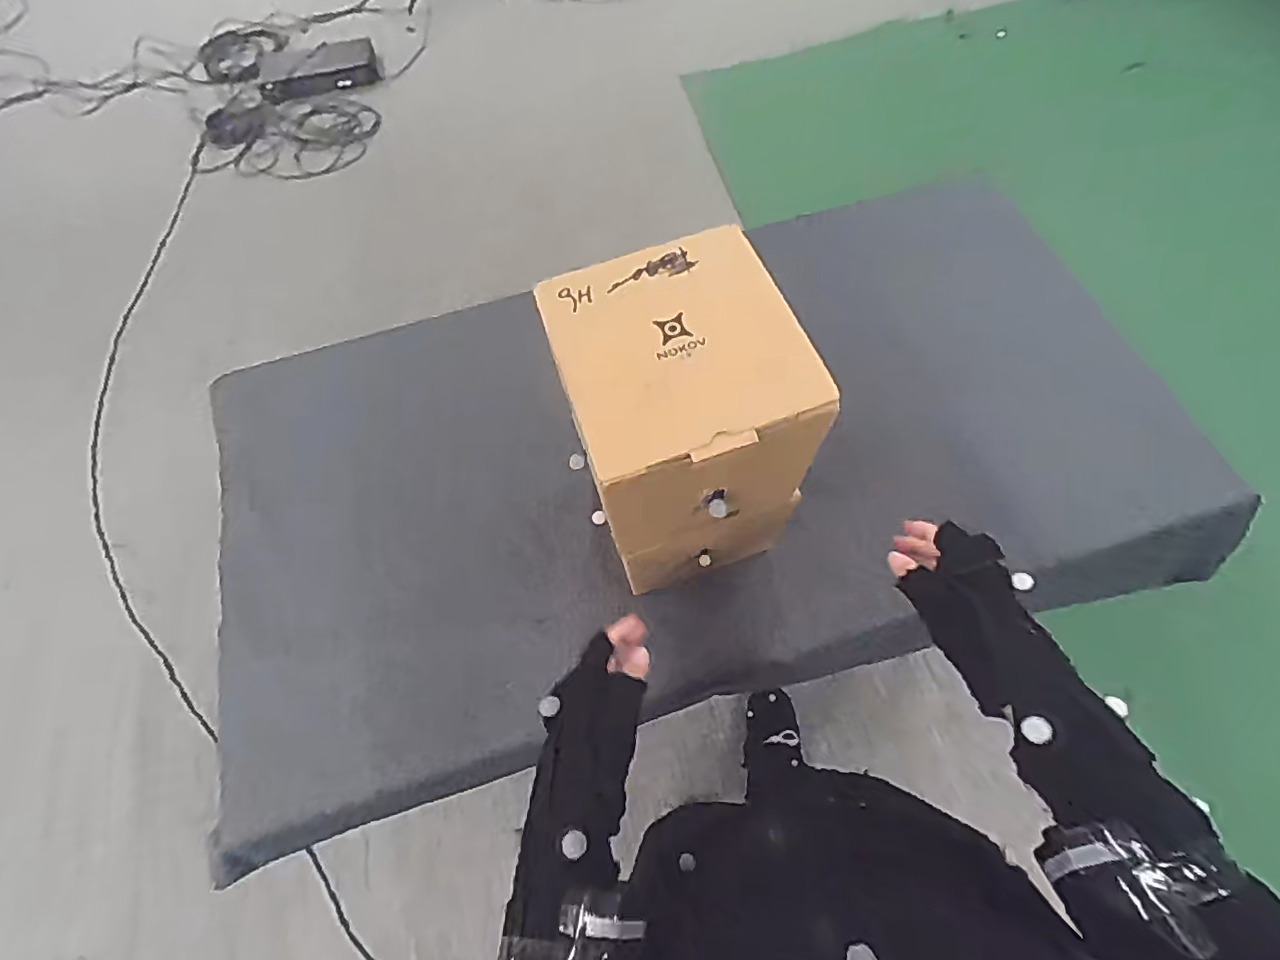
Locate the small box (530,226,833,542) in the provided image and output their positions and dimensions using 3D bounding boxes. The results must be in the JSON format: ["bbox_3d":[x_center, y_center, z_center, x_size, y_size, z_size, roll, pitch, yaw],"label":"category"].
[{"bbox_3d":[0.027,-0.062,0.443,0.168,0.176,0.179,-18,67,-5],"label":"small box"}]

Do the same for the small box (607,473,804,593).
[{"bbox_3d":[0.046,0.006,0.591,0.179,0.176,0.168,-21,67,-7],"label":"small box"}]
